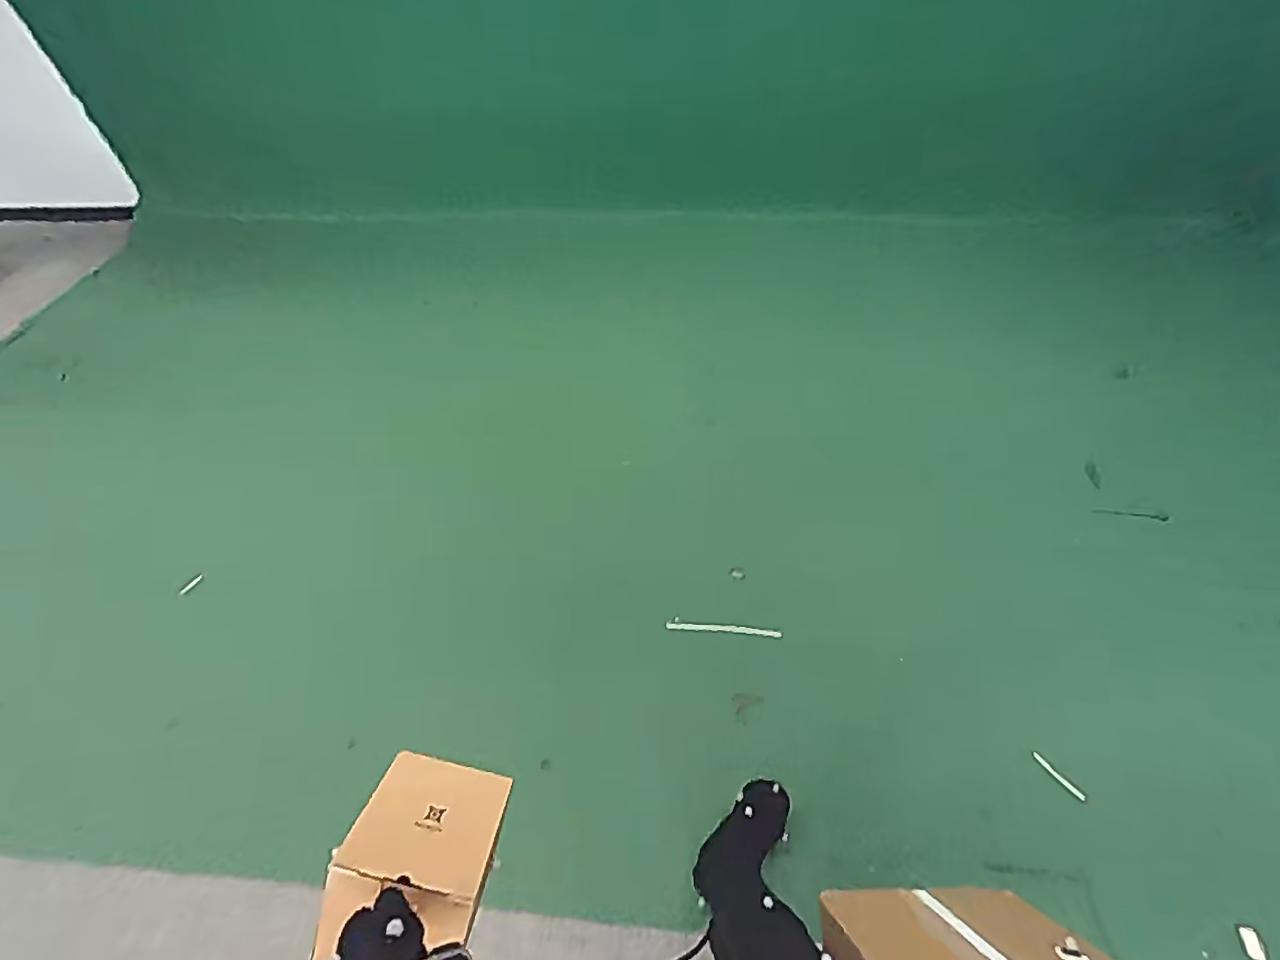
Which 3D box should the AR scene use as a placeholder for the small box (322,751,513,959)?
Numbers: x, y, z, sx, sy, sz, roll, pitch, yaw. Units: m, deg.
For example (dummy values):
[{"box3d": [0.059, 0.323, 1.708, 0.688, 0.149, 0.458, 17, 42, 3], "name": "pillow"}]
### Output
[{"box3d": [-0.284, 0.502, 0.705, 0.168, 0.176, 0.179, 16, 14, -3], "name": "small box"}]
